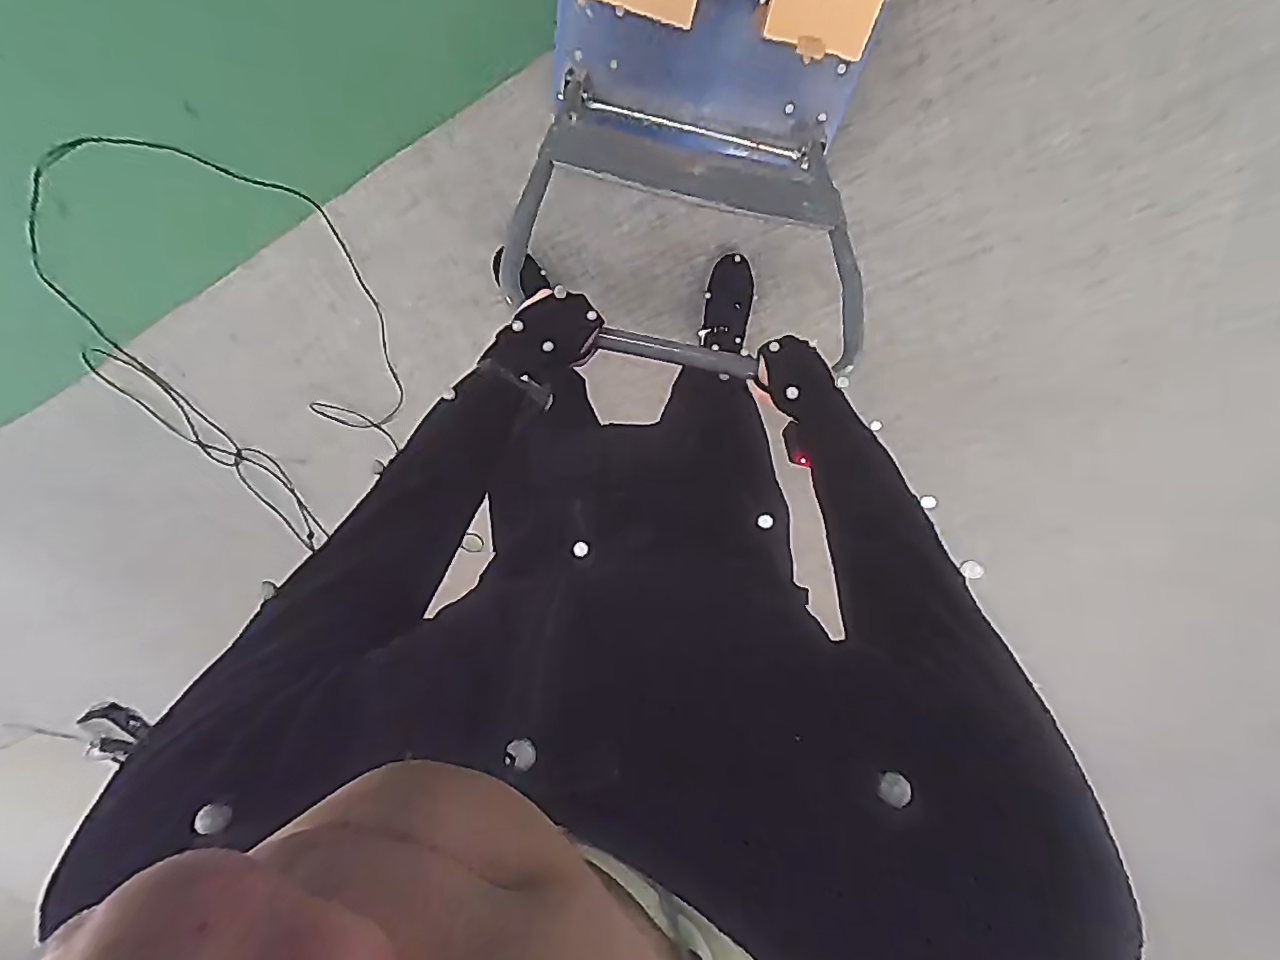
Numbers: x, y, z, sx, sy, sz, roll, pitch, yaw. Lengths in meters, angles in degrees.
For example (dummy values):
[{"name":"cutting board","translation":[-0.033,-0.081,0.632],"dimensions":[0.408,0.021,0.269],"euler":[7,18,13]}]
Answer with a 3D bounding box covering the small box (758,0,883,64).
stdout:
[{"name":"small box","translation":[0.293,-0.802,0.851],"dimensions":[0.168,0.176,0.179],"euler":[10,140,-6]}]
